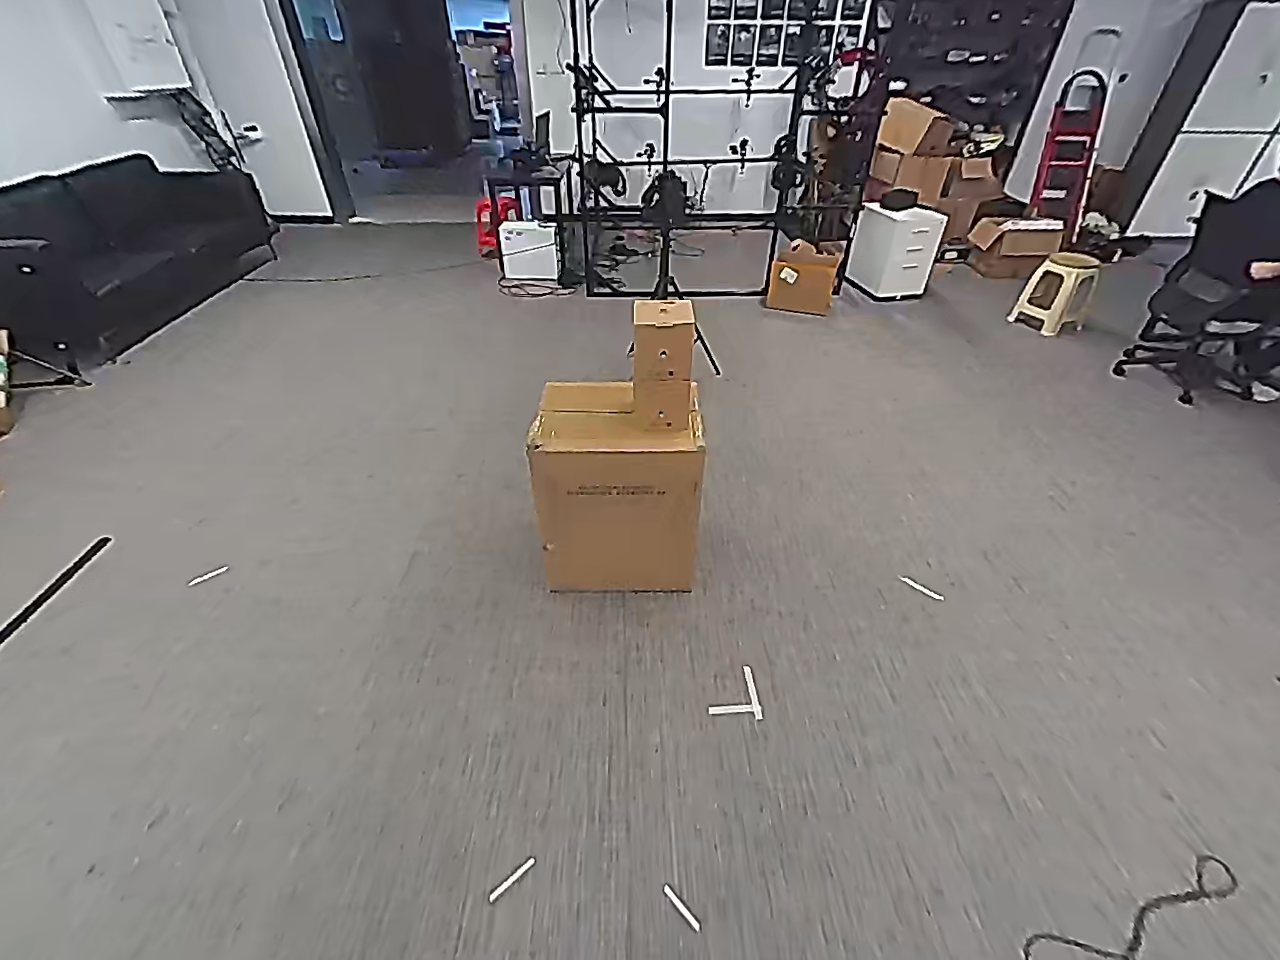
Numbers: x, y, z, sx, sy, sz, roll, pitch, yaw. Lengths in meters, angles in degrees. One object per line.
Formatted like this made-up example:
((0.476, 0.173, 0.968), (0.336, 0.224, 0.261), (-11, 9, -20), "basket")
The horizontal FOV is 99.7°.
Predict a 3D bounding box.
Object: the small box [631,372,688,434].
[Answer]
((0.055, -0.257, 1.653), (0.168, 0.176, 0.179), (-1, 39, 0), "small box")

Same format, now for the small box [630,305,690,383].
((0.058, -0.388, 1.554), (0.168, 0.176, 0.179), (-1, 39, 1), "small box")
